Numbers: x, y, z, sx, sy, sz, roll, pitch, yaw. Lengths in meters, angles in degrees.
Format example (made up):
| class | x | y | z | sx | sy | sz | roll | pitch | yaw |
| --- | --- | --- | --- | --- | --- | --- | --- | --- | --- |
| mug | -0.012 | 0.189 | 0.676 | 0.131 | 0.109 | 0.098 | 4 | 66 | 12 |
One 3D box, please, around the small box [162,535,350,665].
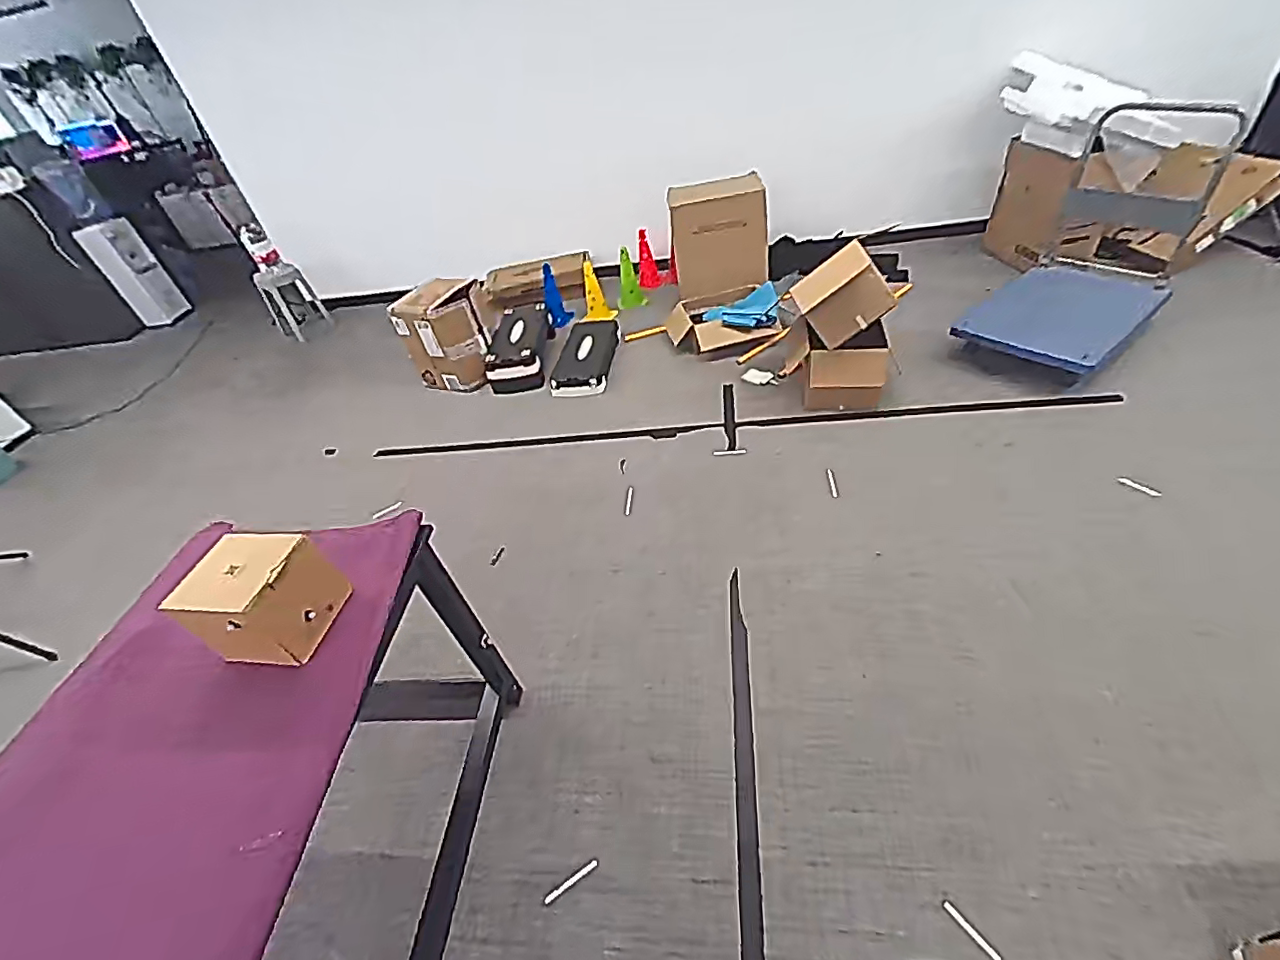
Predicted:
| class | x | y | z | sx | sy | sz | roll | pitch | yaw |
| --- | --- | --- | --- | --- | --- | --- | --- | --- | --- |
| small box | -0.672 | 0.216 | 0.971 | 0.179 | 0.176 | 0.168 | -1 | 43 | 13 |
